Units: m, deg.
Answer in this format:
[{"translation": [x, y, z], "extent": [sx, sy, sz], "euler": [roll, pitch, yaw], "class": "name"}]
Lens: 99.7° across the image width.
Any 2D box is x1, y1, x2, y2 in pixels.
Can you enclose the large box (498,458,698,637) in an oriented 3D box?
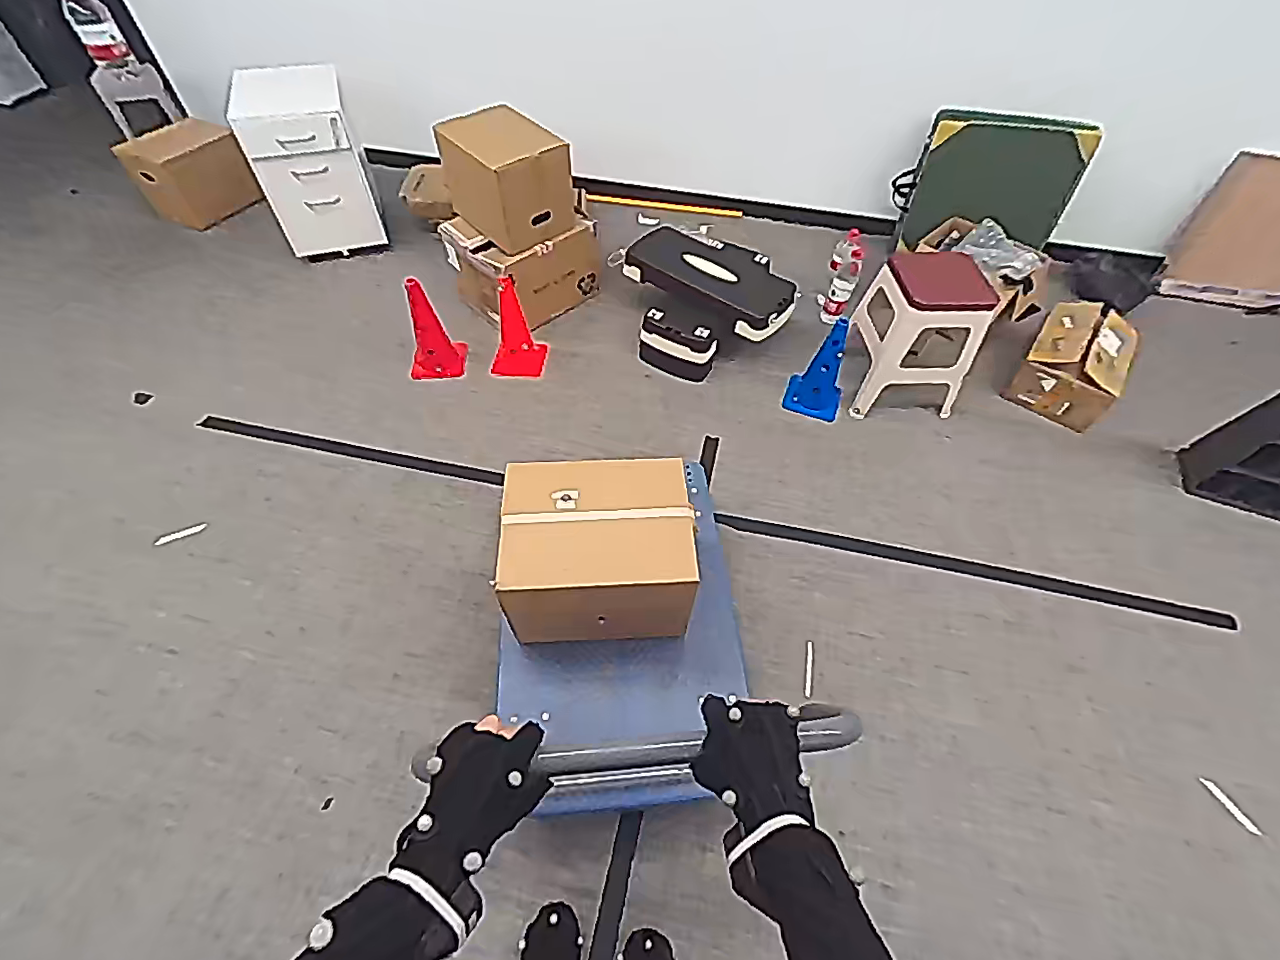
[{"translation": [-0.092, 0.167, 1.276], "extent": [0.408, 0.320, 0.320], "euler": [-2, 55, -3], "class": "large box"}]
